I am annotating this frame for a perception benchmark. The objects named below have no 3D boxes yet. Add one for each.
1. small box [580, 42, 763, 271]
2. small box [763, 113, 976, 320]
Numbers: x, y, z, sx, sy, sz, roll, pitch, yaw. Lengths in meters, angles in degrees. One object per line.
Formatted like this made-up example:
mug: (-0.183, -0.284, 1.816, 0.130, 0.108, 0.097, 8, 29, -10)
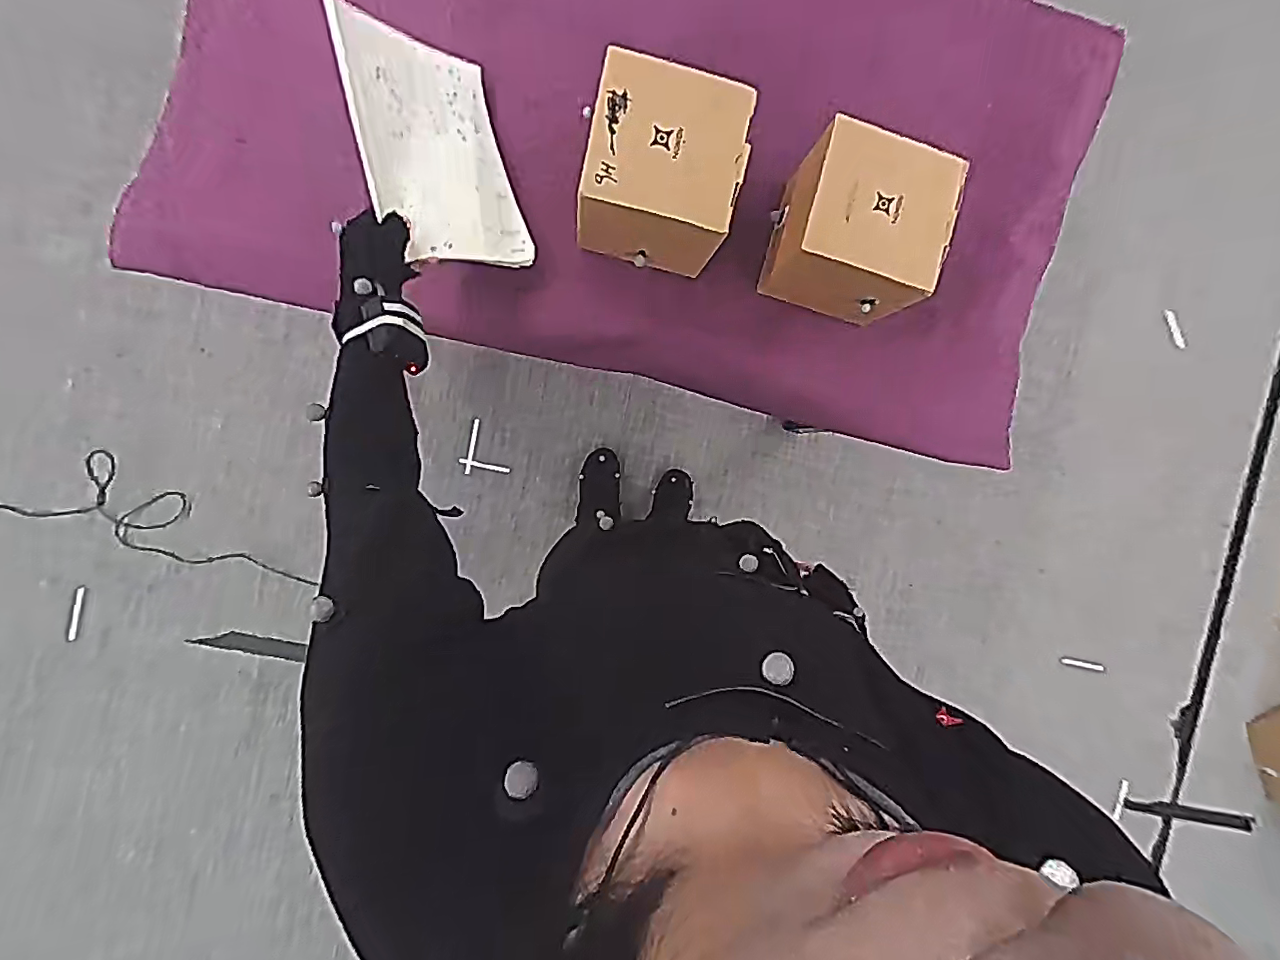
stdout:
small box: (0.027, -0.380, 0.675, 0.179, 0.176, 0.168, 12, 91, -8)
small box: (0.285, -0.324, 0.707, 0.179, 0.176, 0.168, 15, 90, -5)
